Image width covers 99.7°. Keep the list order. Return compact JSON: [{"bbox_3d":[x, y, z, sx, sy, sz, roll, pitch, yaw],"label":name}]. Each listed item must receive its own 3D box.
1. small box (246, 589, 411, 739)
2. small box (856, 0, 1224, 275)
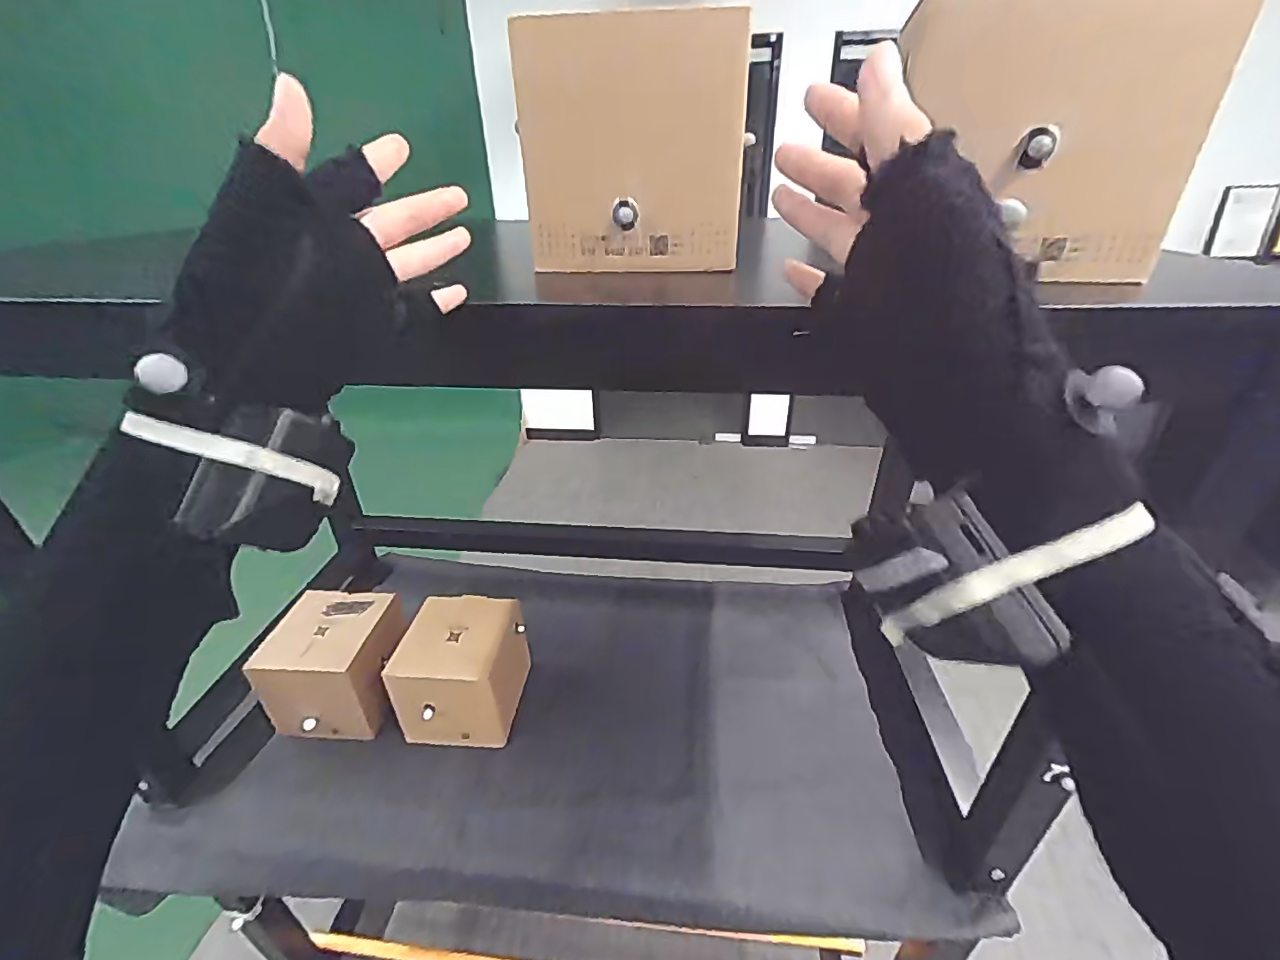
[{"bbox_3d":[-0.513,0.310,0.926,0.168,0.176,0.179,1,30,4],"label":"small box"},{"bbox_3d":[0.262,-0.252,0.401,0.168,0.176,0.179,7,31,15],"label":"small box"}]
